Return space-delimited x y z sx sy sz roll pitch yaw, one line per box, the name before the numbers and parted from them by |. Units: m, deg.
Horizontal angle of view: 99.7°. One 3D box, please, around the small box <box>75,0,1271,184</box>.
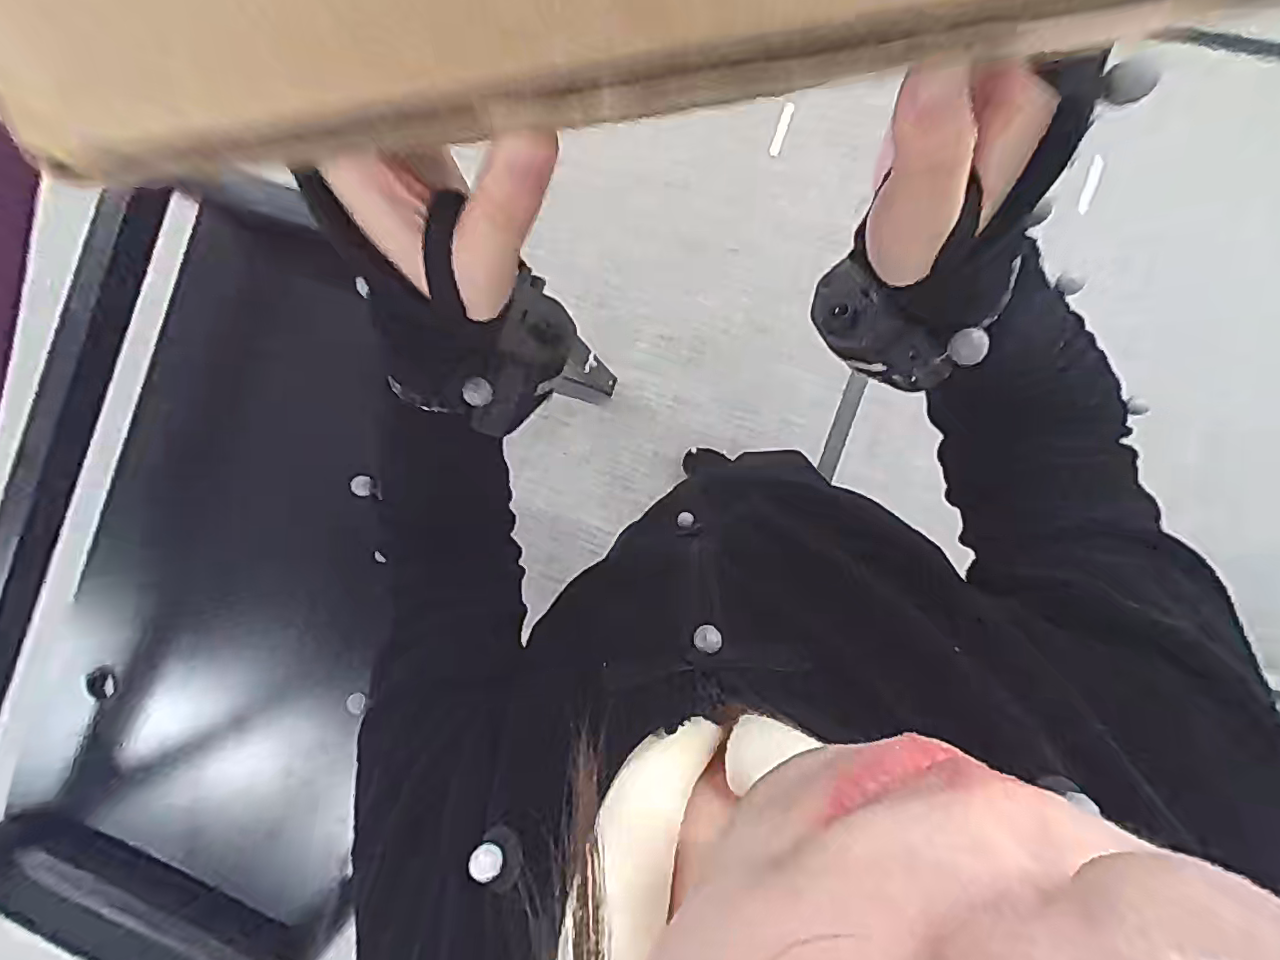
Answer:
small box | 0.009 -0.158 0.081 0.179 0.168 0.176 -8 121 3
